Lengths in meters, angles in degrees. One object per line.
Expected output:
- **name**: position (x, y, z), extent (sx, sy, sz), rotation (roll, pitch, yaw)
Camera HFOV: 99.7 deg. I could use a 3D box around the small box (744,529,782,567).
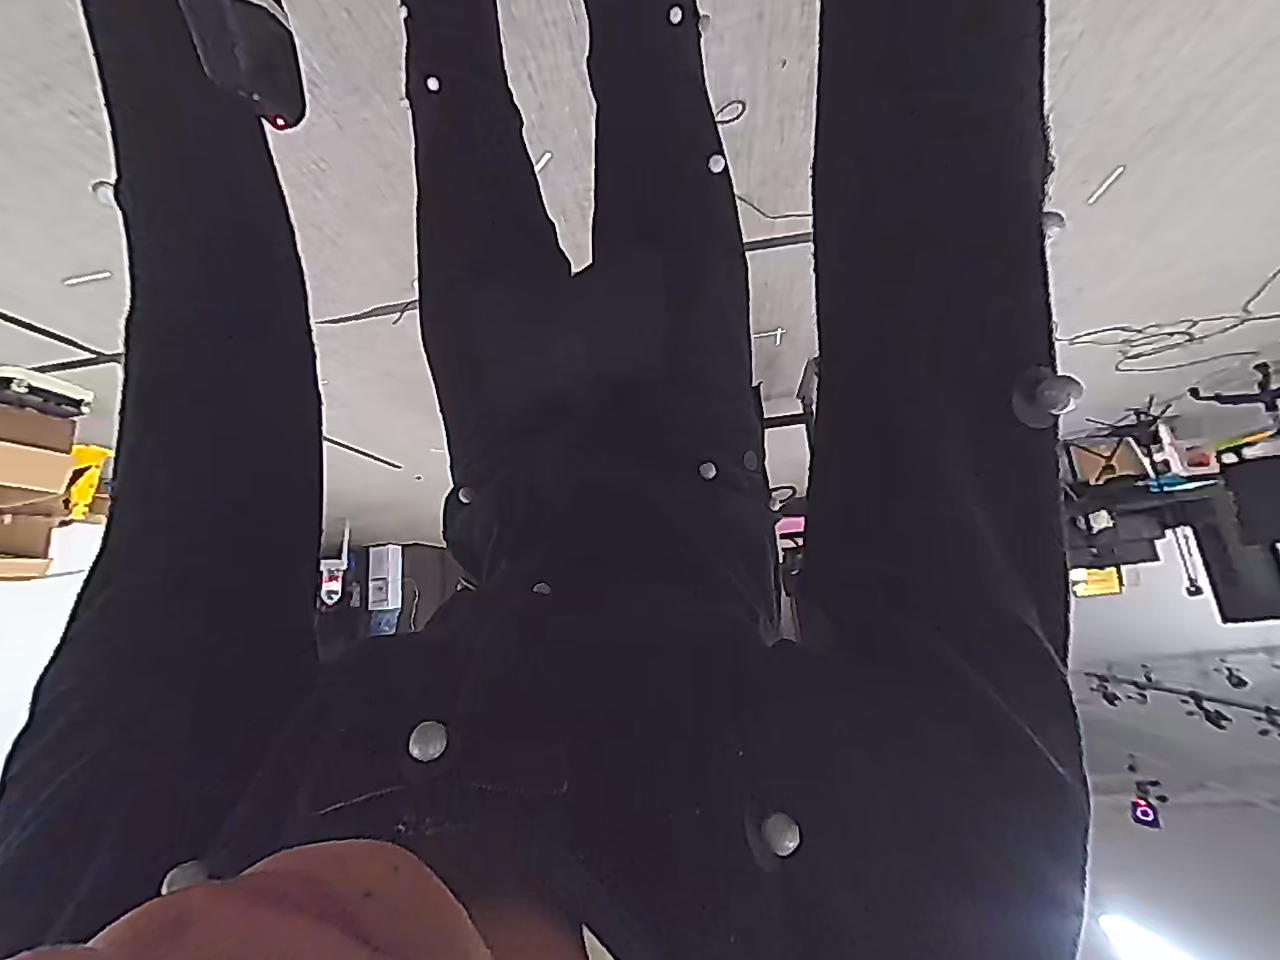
- **small box**: position (0.623, 0.345, 2.734), extent (0.168, 0.176, 0.179), rotation (-8, 165, 11)
